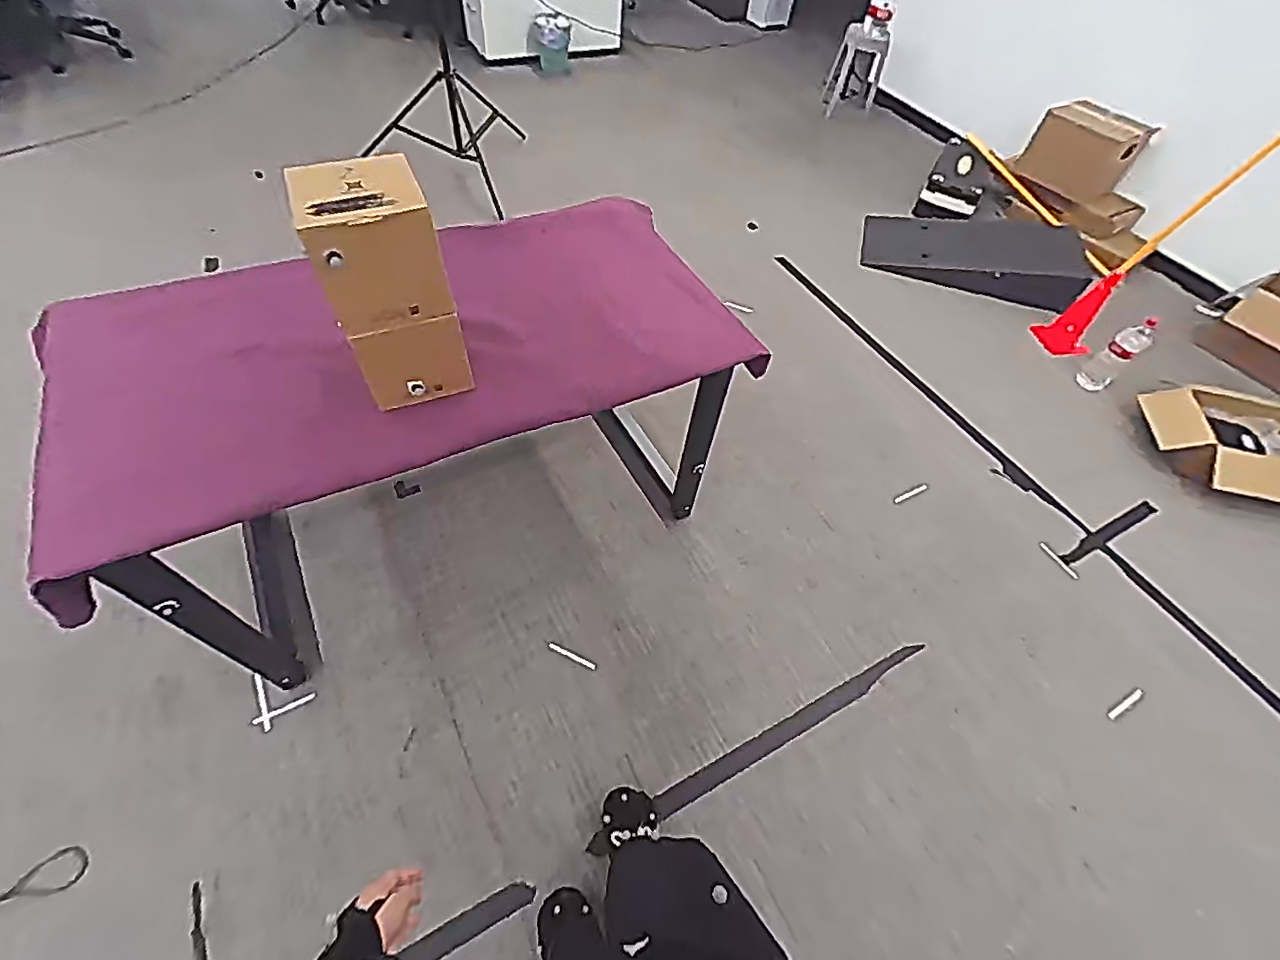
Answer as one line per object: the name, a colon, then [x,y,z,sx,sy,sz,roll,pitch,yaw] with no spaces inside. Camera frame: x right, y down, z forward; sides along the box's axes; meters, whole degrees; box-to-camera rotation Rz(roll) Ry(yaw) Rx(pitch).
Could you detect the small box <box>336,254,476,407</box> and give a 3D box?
small box: [-0.399,-0.257,0.938,0.168,0.176,0.179,-20,59,-18]
